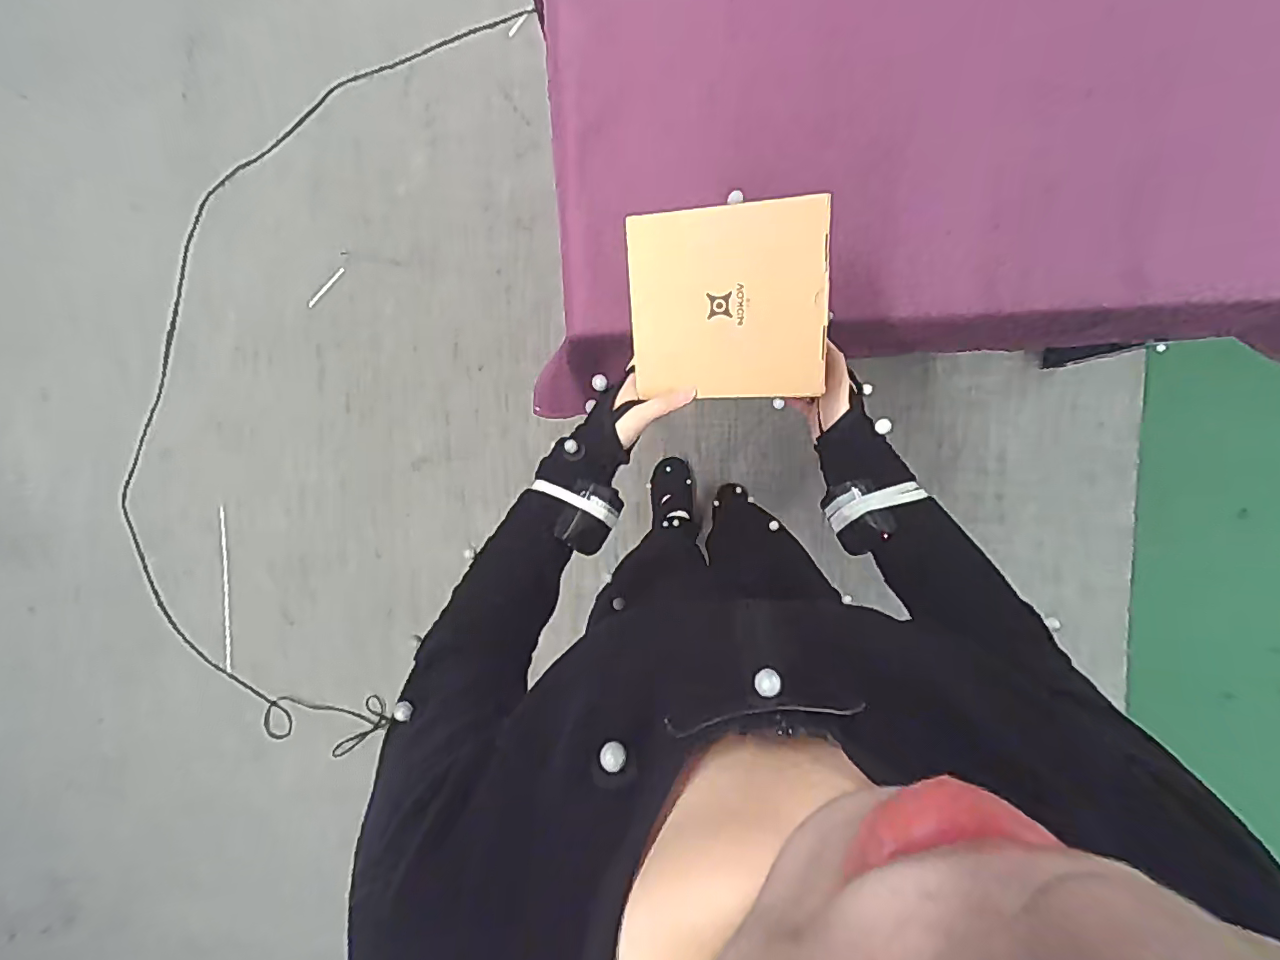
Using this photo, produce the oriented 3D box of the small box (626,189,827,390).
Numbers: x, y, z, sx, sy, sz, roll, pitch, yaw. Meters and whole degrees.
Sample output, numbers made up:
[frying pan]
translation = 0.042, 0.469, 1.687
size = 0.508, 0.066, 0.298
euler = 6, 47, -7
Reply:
[small box]
translation = 0.093, -0.183, 0.560
size = 0.179, 0.176, 0.168
euler = 0, 105, 14
